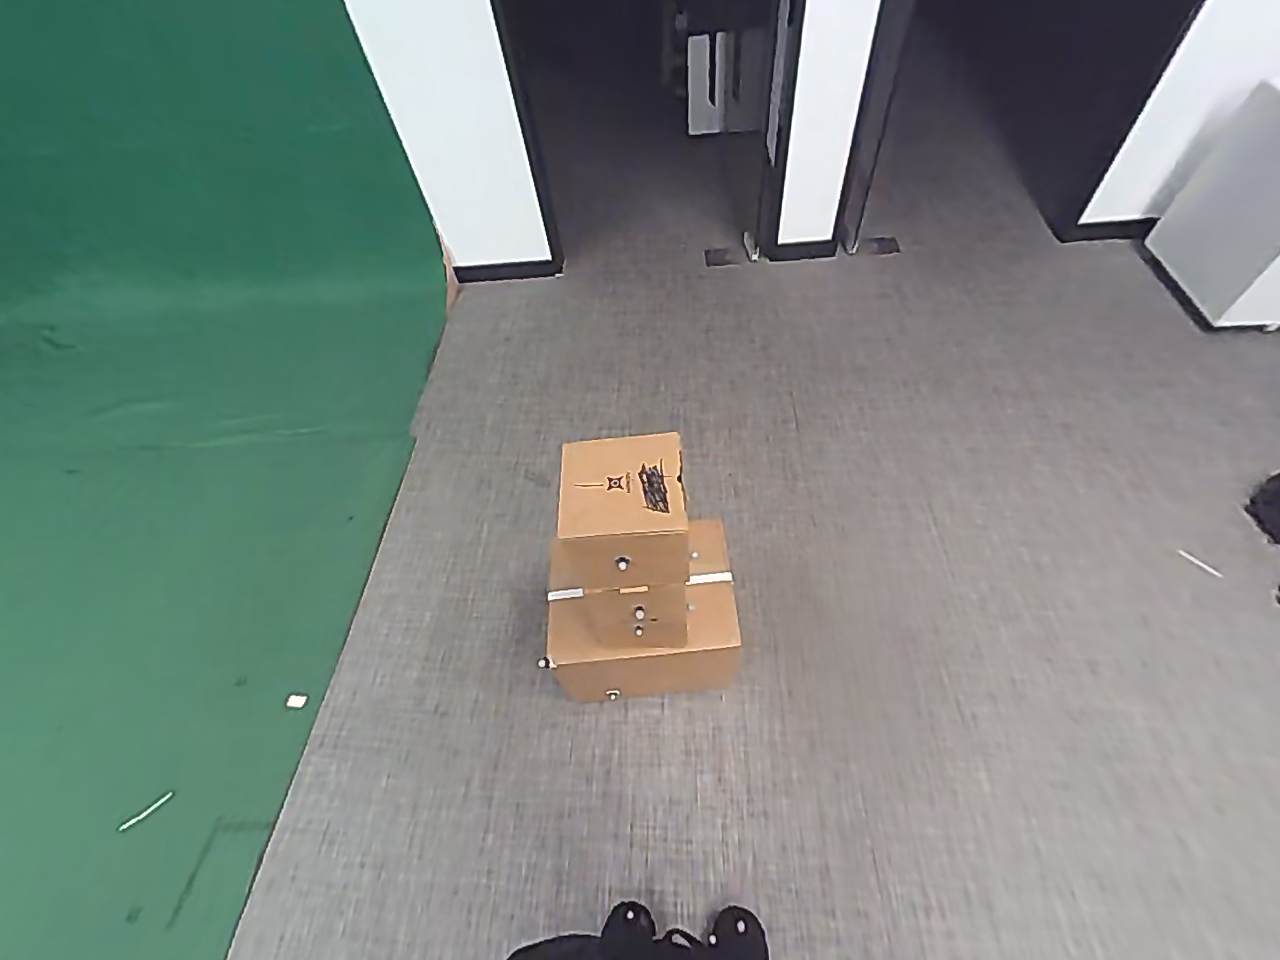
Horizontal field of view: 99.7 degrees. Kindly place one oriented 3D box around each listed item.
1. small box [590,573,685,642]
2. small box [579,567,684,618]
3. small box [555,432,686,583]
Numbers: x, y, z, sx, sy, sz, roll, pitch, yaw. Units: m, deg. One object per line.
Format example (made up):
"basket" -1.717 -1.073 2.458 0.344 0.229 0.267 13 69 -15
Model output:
"small box" 0.000 0.224 1.095 0.179 0.176 0.168 -3 57 2
"small box" -0.011 0.137 0.958 0.168 0.176 0.179 -5 57 3
"small box" -0.021 0.047 0.820 0.179 0.176 0.168 -5 56 4
